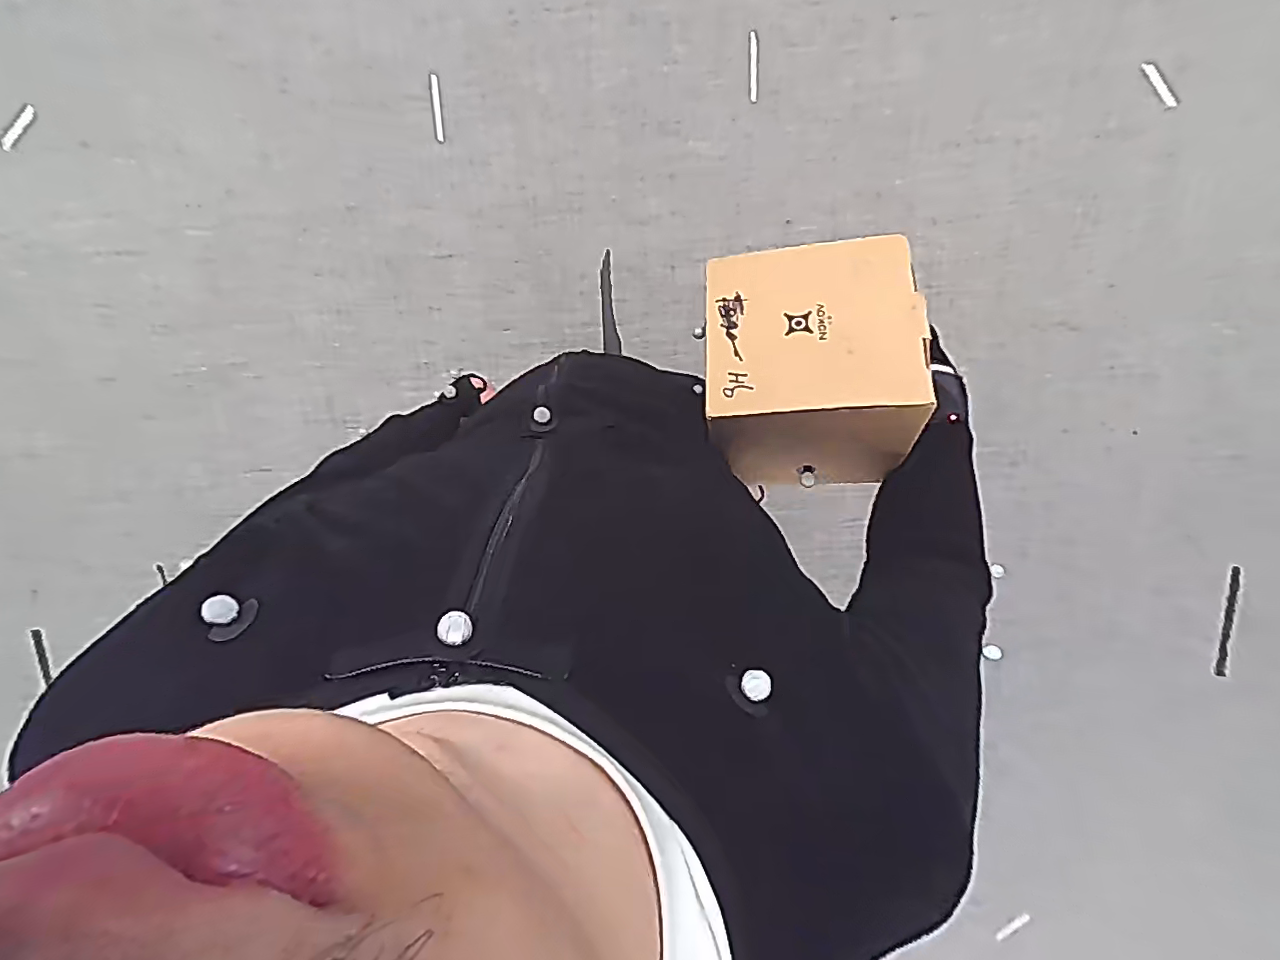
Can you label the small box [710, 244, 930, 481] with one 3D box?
[{"bbox_3d":[0.164,-0.104,0.542,0.179,0.176,0.168,-1,68,12],"label":"small box"}]
